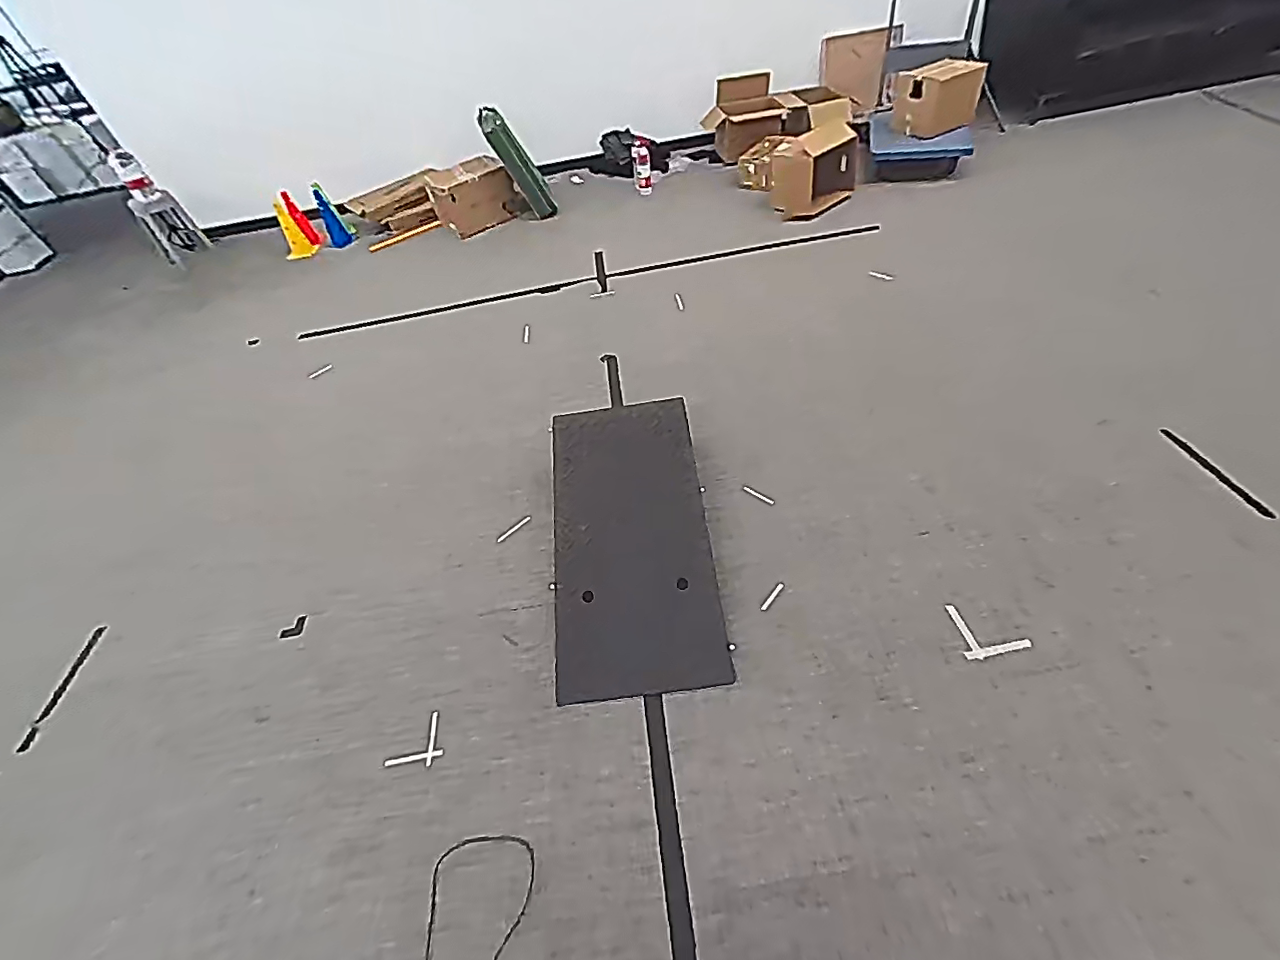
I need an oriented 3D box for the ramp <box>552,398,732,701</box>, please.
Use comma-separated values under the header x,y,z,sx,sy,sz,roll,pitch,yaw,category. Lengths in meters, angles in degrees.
x,y,z,sx,sy,sz,roll,pitch,yaw,category
-0.033,0.152,1.727,0.509,0.206,0.991,-9,48,1,ramp
